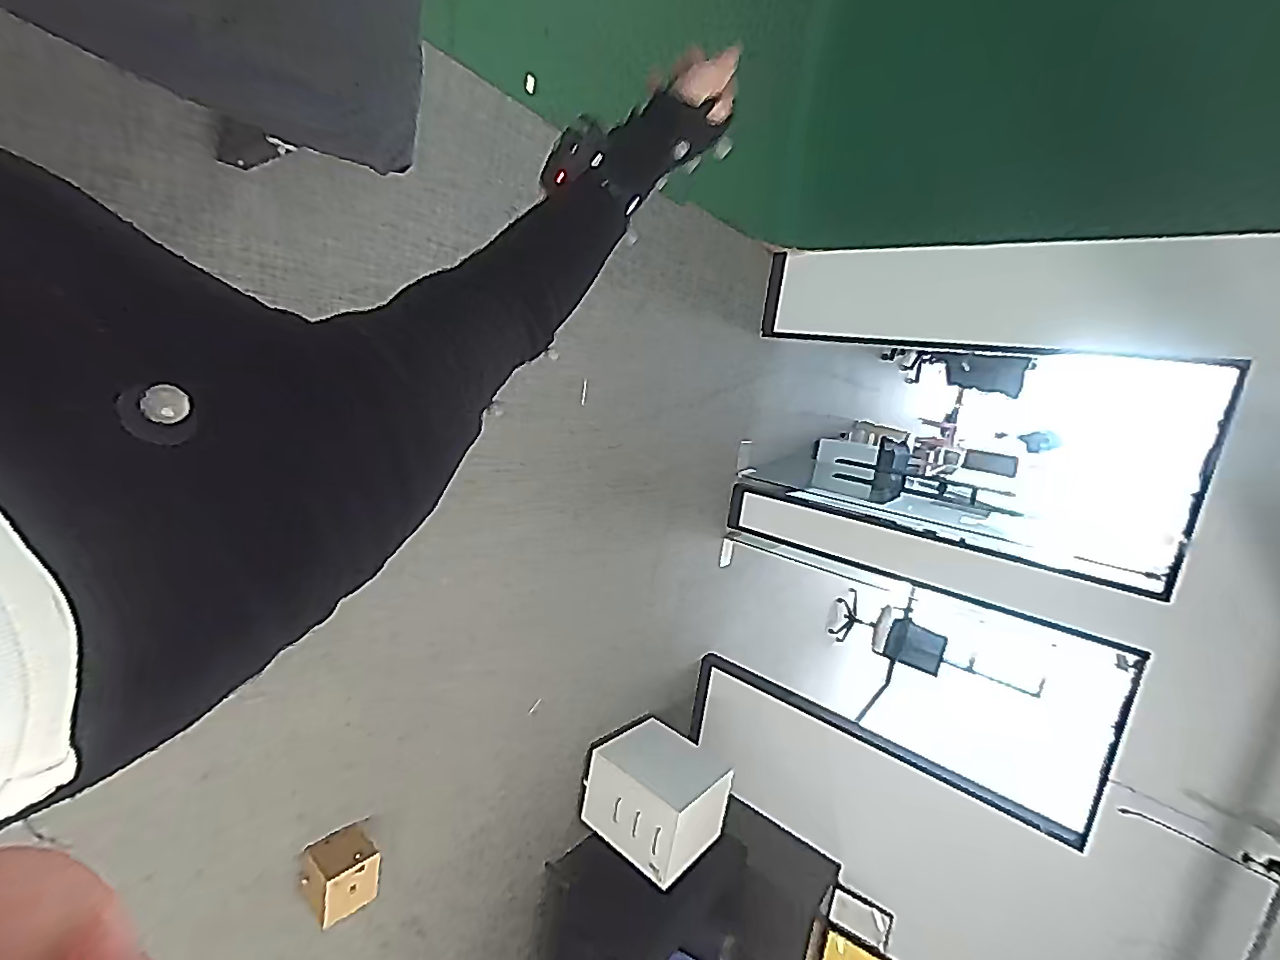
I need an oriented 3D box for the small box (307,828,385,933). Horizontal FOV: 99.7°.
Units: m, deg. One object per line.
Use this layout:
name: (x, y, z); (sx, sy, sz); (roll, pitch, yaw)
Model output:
small box: (-0.950, 1.278, 1.740); (0.168, 0.176, 0.179); (-2, 104, -52)
